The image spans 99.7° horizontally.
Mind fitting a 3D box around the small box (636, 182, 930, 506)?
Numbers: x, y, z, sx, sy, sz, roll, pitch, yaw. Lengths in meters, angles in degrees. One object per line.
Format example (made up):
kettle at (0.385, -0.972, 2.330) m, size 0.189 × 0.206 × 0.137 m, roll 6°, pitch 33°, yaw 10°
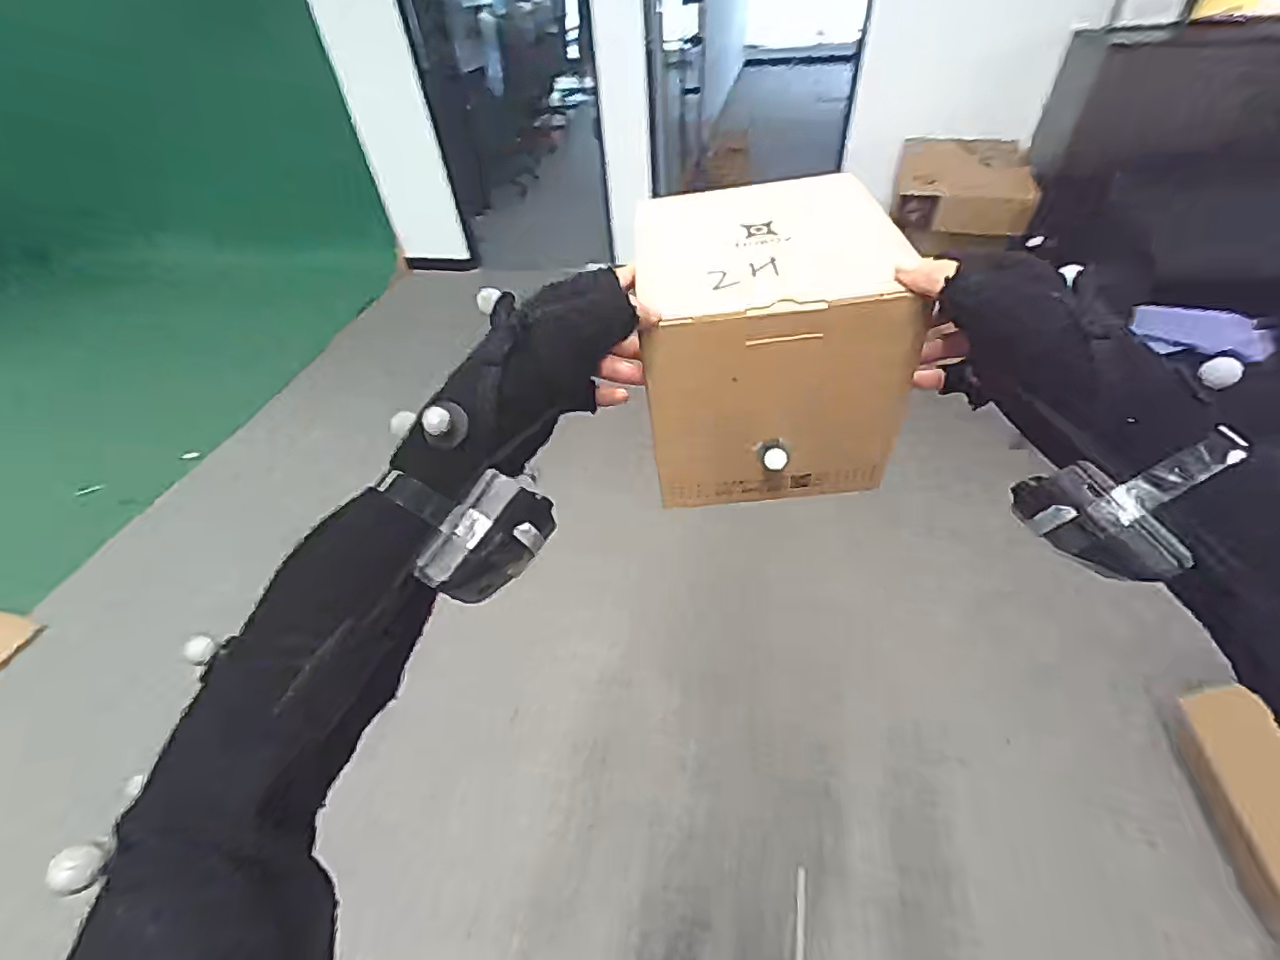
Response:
small box at (0.088, -0.102, 0.417) m, size 0.168 × 0.176 × 0.179 m, roll -6°, pitch 47°, yaw 5°
